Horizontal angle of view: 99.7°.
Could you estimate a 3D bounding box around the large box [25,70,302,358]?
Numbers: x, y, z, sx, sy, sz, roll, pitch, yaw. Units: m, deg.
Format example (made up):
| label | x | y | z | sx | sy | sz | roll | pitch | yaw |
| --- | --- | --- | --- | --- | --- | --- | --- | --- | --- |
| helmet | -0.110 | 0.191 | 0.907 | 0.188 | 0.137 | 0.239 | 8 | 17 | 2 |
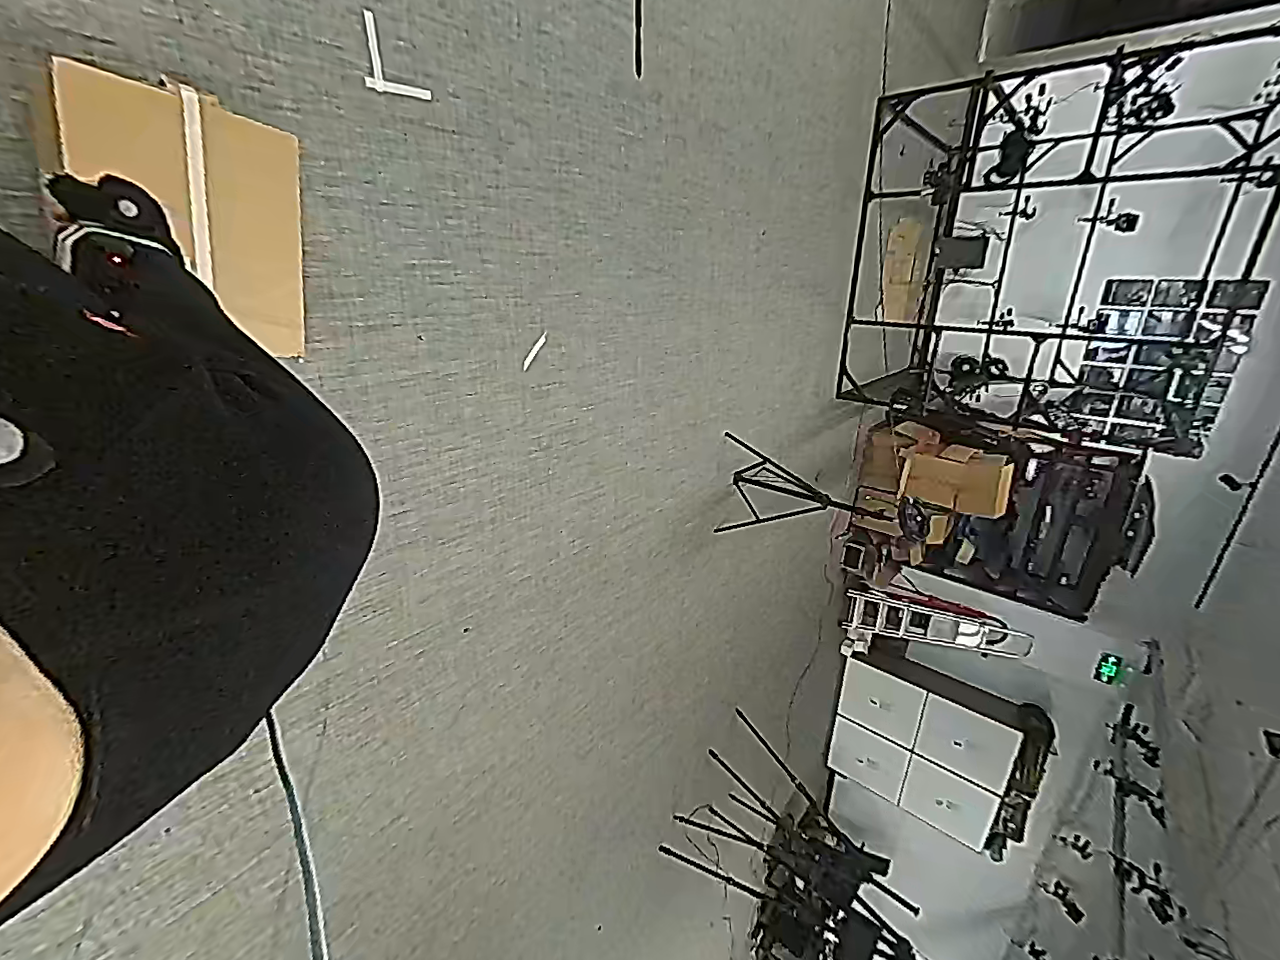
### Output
| label | x | y | z | sx | sy | sz | roll | pitch | yaw |
| --- | --- | --- | --- | --- | --- | --- | --- | --- | --- |
| large box | -0.878 | -0.456 | 1.019 | 0.320 | 0.320 | 0.408 | -11 | 114 | -51 |
